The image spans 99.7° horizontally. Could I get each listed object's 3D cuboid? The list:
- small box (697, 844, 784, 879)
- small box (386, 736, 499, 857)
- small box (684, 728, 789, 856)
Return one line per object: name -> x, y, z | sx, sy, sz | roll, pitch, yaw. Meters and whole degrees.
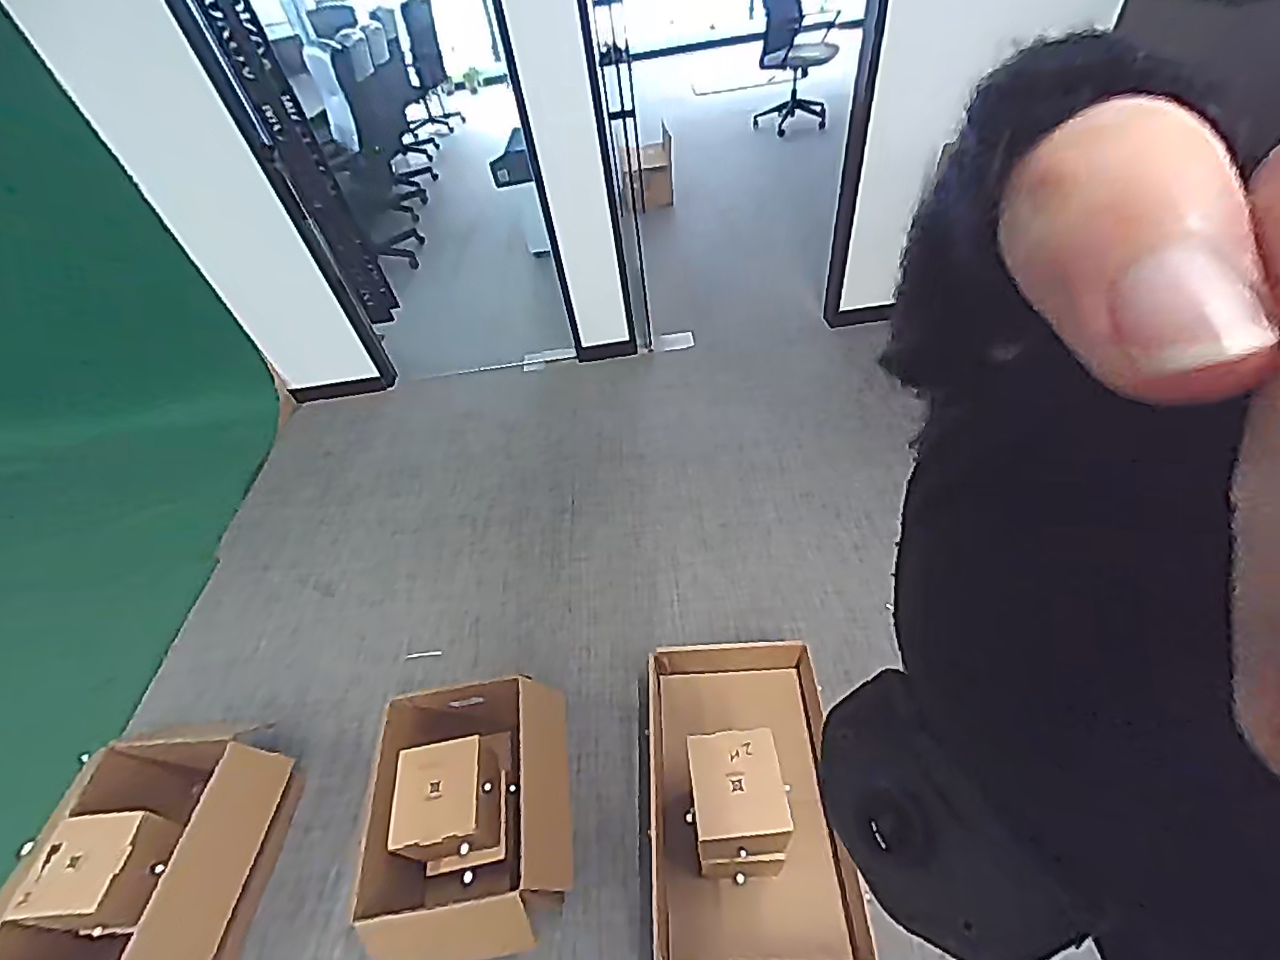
small box -> 0.199, 0.720, 1.143 | 0.168, 0.176, 0.179 | -5, 45, 3
small box -> -0.393, 0.654, 1.110 | 0.168, 0.176, 0.179 | -10, 48, -2
small box -> 0.178, 0.600, 1.032 | 0.168, 0.176, 0.179 | -7, 45, 1
